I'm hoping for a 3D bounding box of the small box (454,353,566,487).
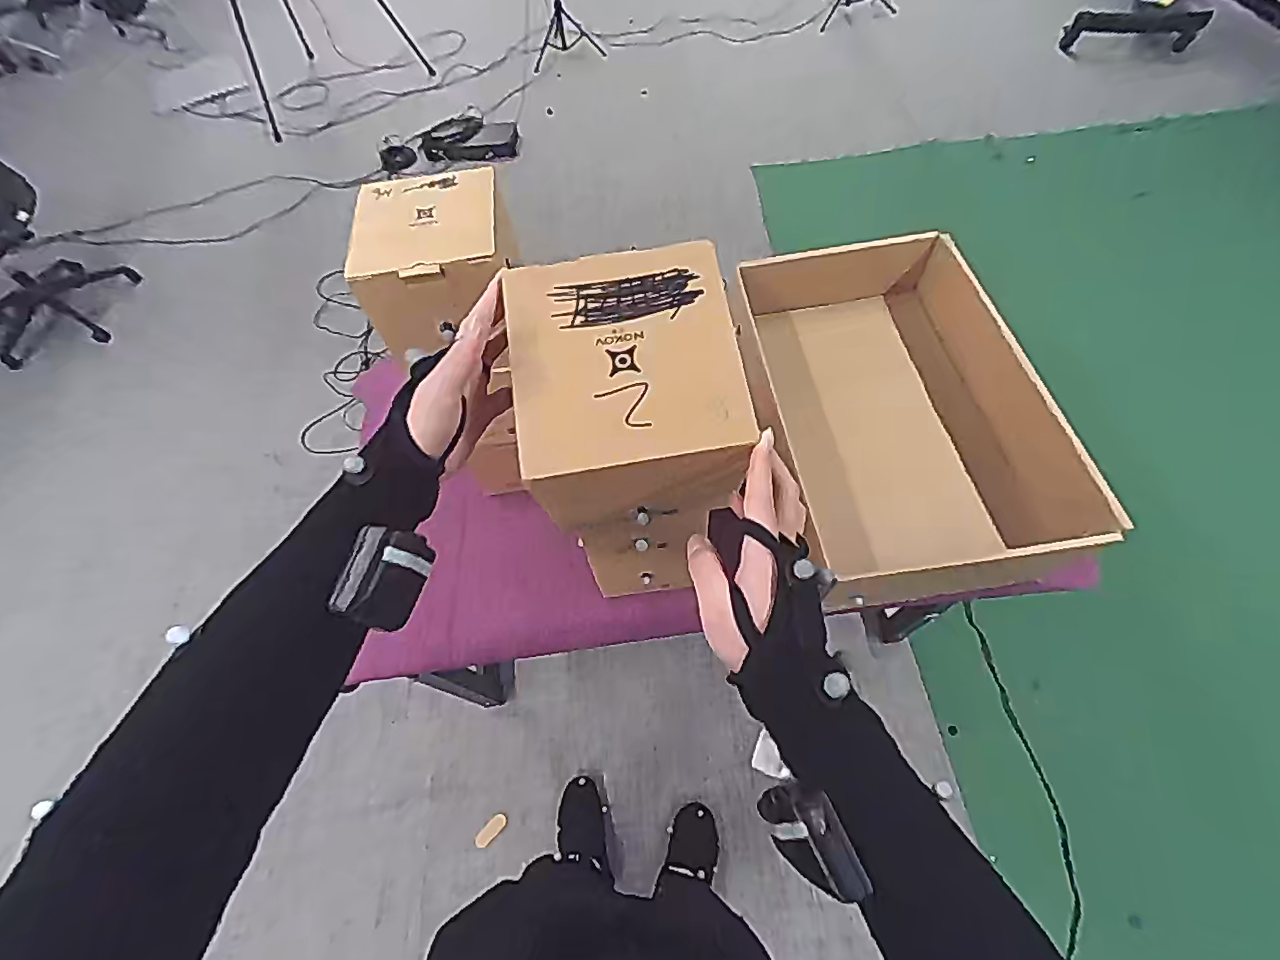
[{"bbox_3d":[-0.222,-0.100,0.974,0.168,0.176,0.179,-7,60,-1],"label":"small box"}]

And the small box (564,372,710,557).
[{"bbox_3d":[-0.005,-0.015,0.718,0.168,0.176,0.179,-7,60,1],"label":"small box"}]

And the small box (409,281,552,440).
[{"bbox_3d":[-0.233,-0.174,0.830,0.168,0.176,0.179,-8,60,-1],"label":"small box"}]

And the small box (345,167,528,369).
[{"bbox_3d":[-0.243,-0.258,0.690,0.168,0.176,0.179,-8,61,-1],"label":"small box"}]

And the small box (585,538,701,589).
[{"bbox_3d":[0.004,0.066,0.860,0.168,0.176,0.179,-7,60,0],"label":"small box"}]
